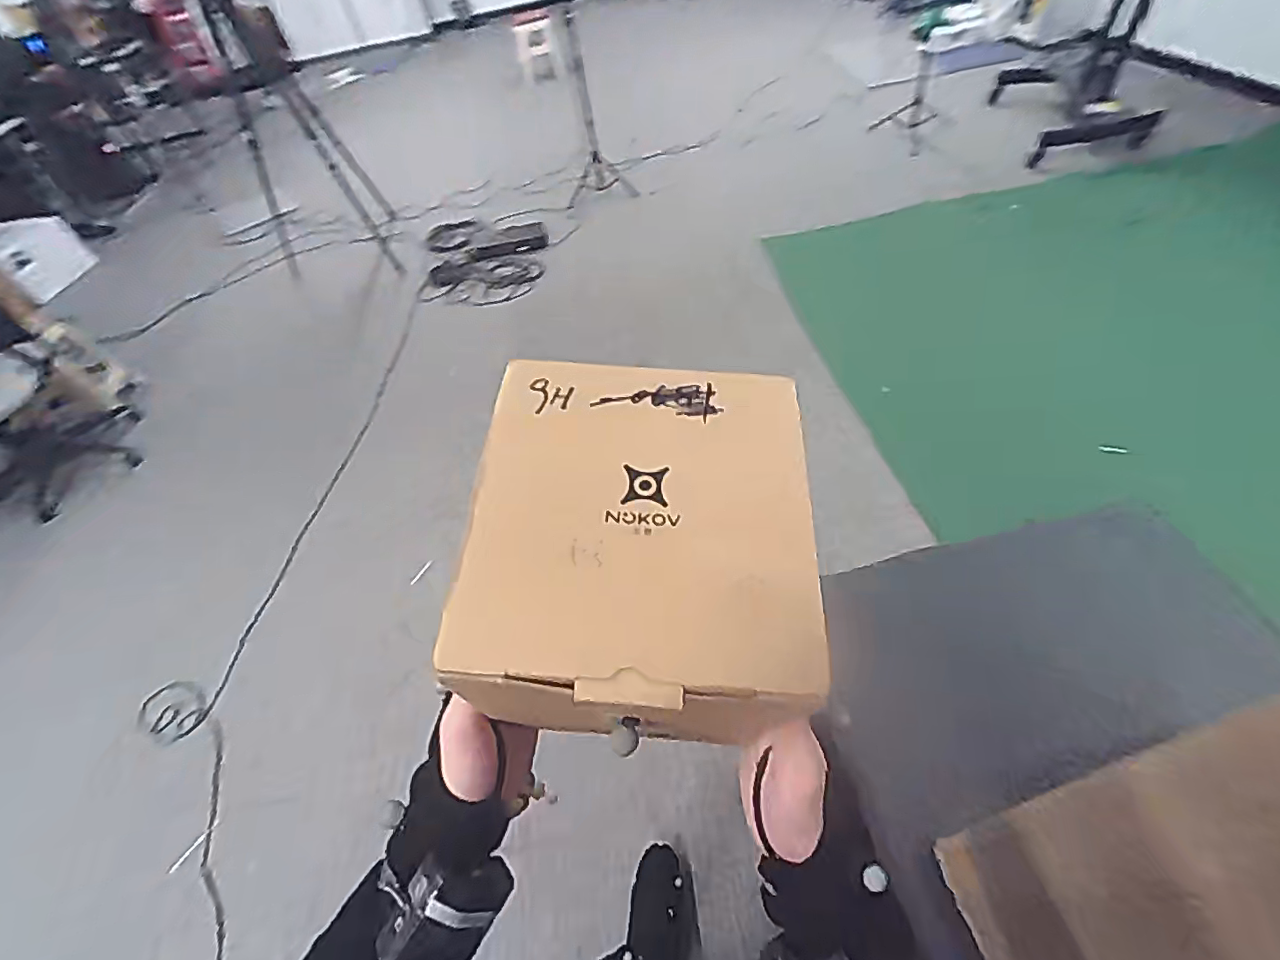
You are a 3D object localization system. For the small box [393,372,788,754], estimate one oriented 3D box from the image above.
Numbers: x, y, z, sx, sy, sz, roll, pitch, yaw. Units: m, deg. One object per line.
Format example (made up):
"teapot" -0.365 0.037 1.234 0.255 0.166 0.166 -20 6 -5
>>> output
"small box" -0.014 0.060 0.327 0.168 0.176 0.179 4 59 1
